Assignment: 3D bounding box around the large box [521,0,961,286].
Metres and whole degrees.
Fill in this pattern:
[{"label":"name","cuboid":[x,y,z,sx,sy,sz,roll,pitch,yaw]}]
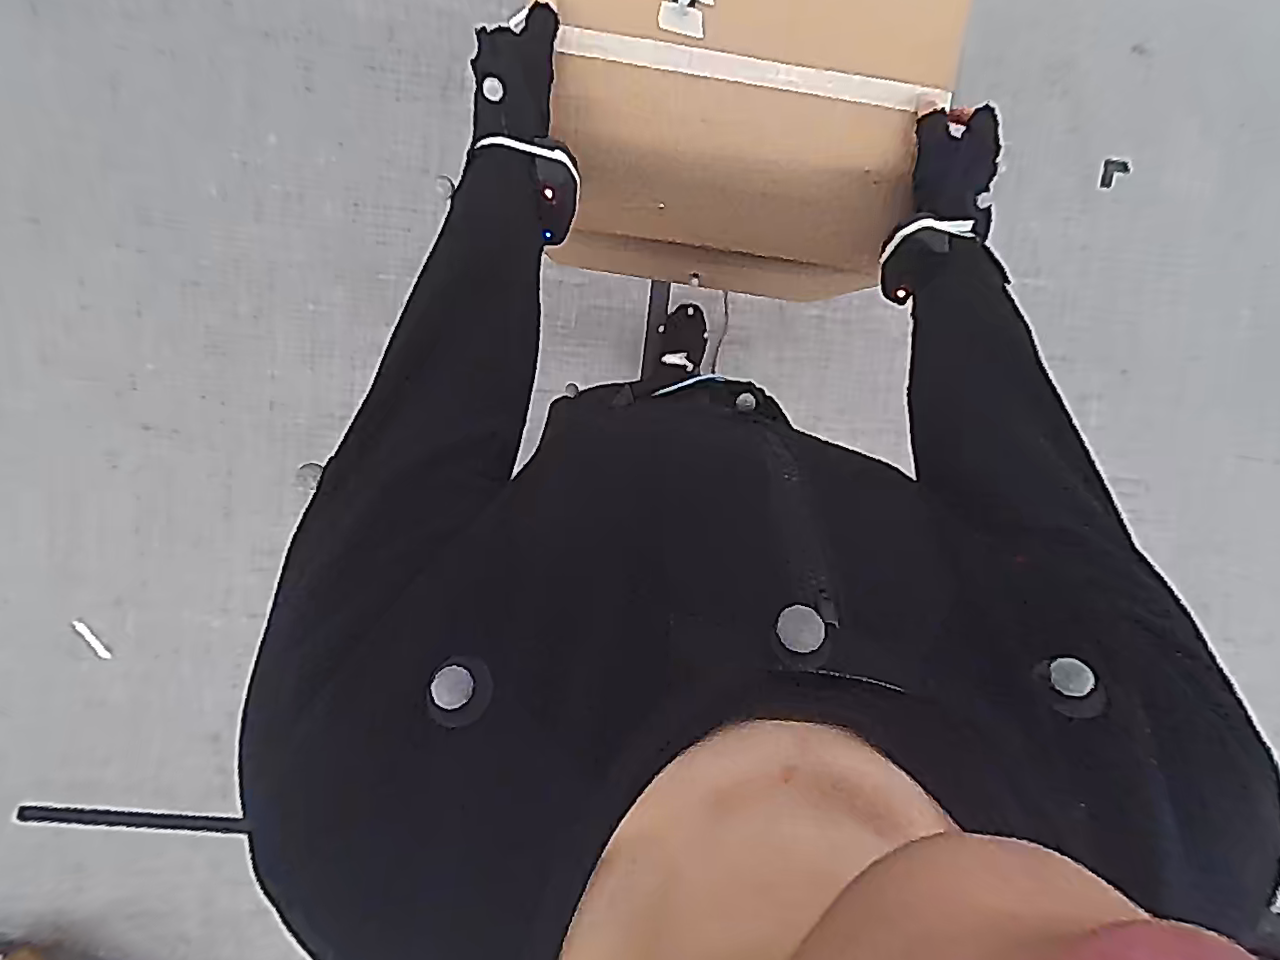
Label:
[{"label":"large box","cuboid":[0.093,-0.432,0.661,0.408,0.320,0.320,7,103,-3]}]
